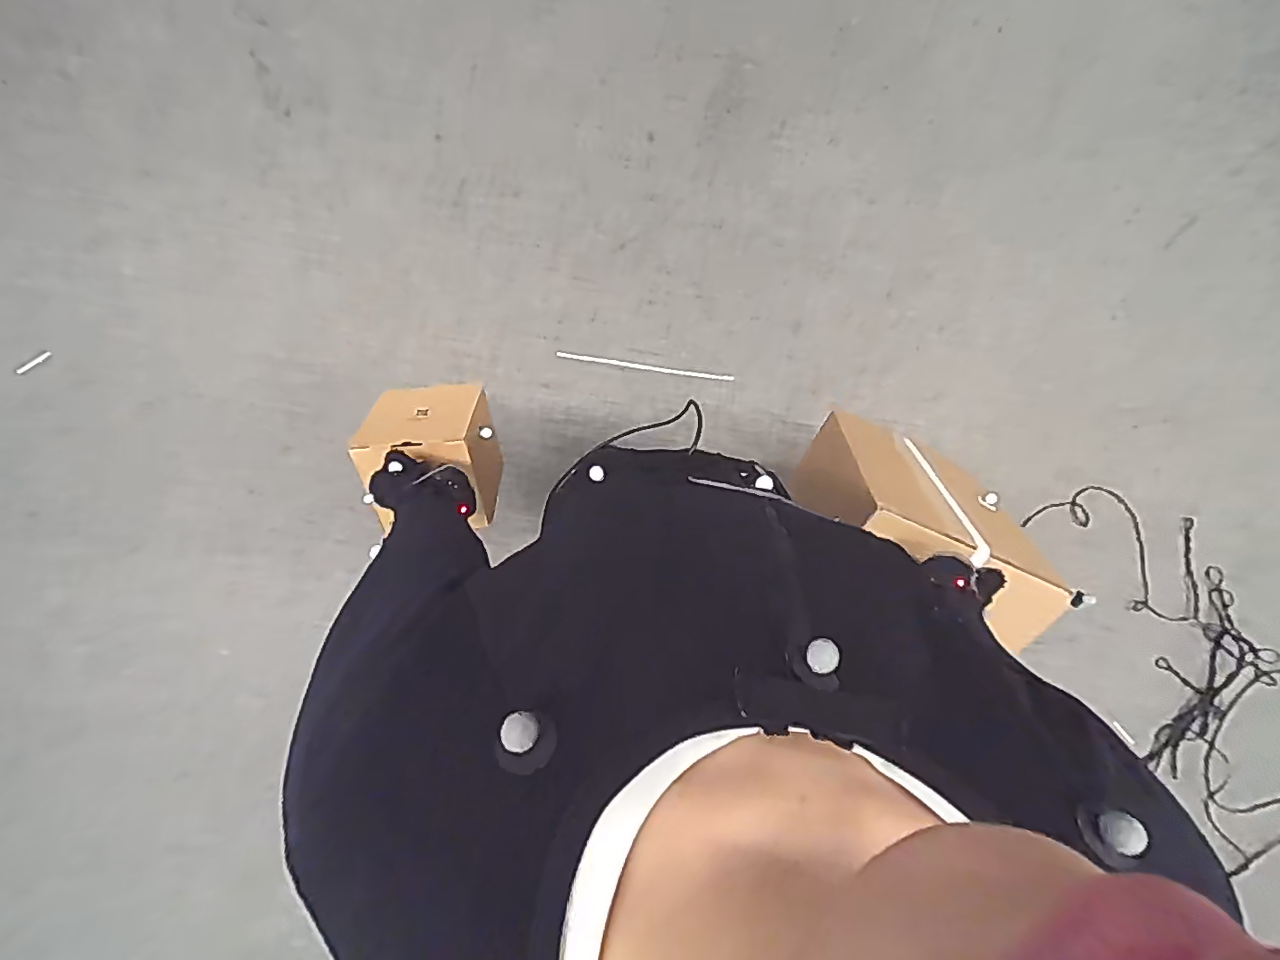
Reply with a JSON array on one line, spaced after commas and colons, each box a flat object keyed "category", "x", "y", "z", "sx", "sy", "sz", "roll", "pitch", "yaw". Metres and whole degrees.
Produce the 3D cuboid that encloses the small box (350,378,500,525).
[{"category": "small box", "x": -0.332, "y": -0.048, "z": 0.879, "sx": 0.168, "sy": 0.179, "sz": 0.176, "roll": -5, "pitch": 129, "yaw": -1}]
